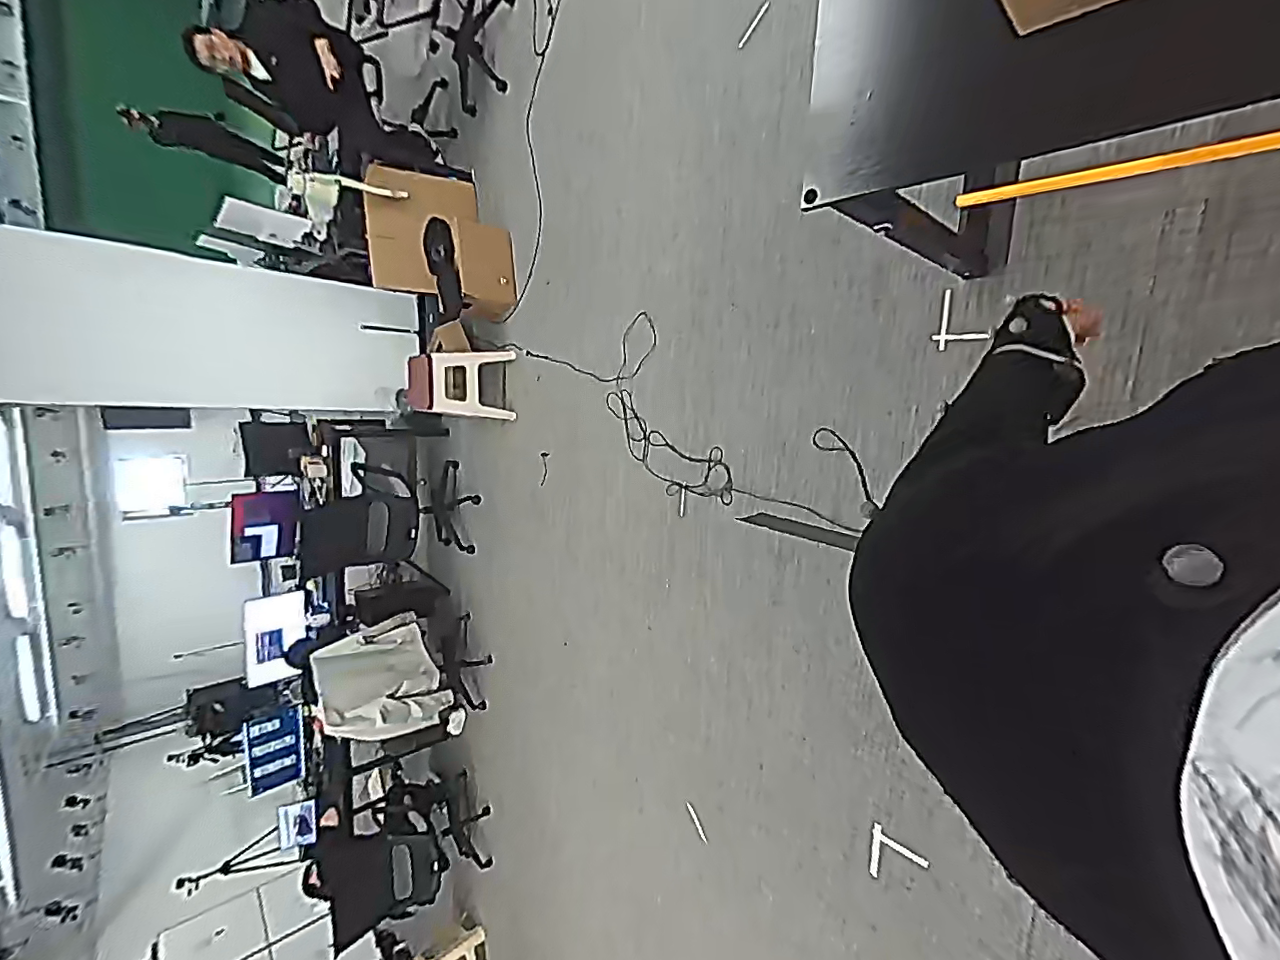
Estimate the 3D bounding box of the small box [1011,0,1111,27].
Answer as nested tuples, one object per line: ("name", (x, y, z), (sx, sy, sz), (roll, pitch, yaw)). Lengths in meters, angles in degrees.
("small box", (0.456, -0.602, 0.522), (0.168, 0.176, 0.179), (15, 105, 47))
